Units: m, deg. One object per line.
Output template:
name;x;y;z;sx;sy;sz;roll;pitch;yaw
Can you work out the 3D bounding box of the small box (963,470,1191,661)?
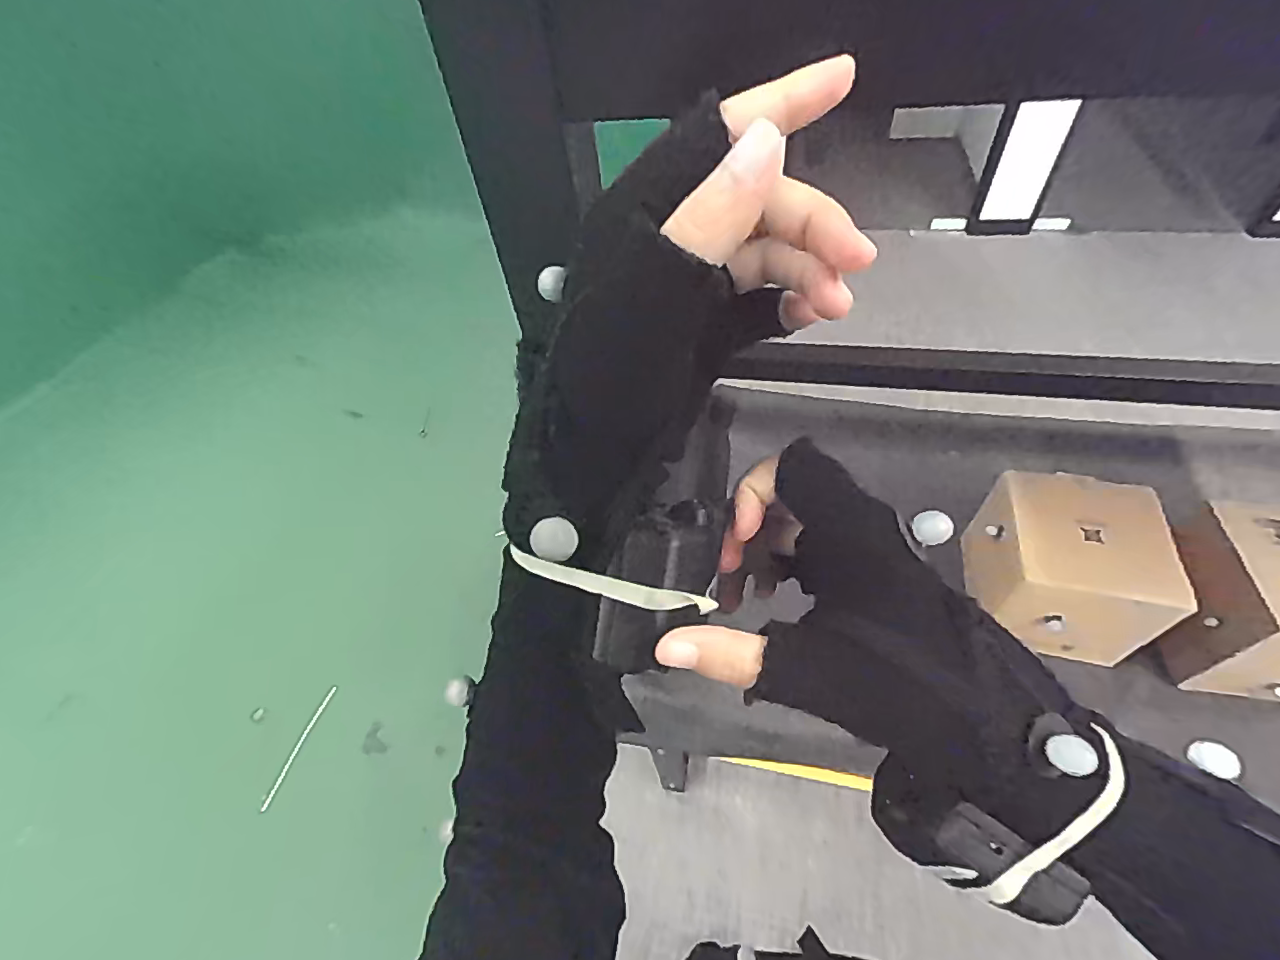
small box;0.546;0.115;0.710;0.168;0.176;0.179;9;52;14
